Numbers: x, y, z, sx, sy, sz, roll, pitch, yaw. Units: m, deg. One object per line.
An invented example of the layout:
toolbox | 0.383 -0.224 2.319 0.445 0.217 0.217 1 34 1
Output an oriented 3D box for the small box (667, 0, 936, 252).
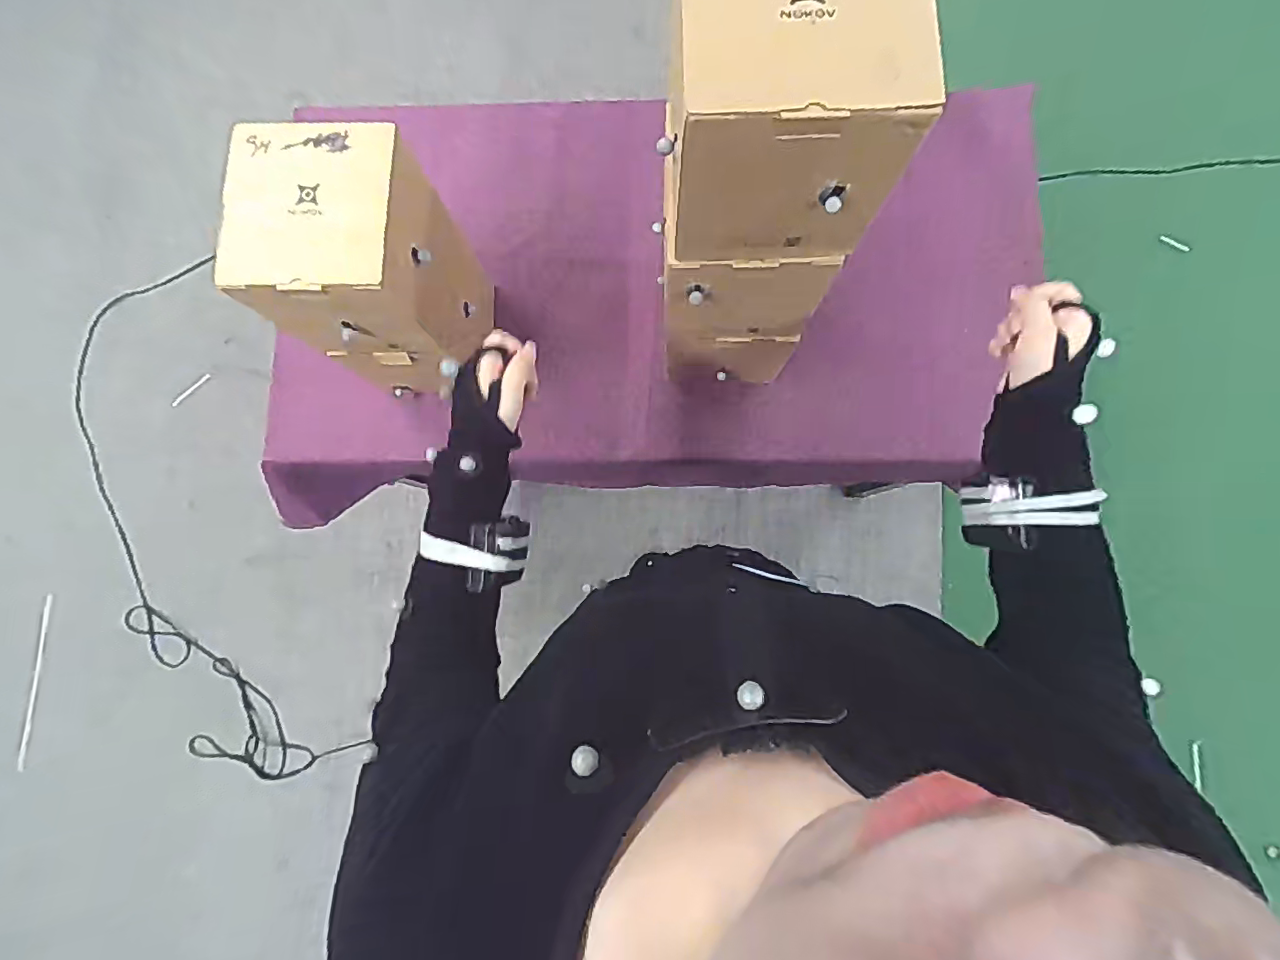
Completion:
small box | 0.107 -0.301 0.431 0.168 0.176 0.179 -1 82 1

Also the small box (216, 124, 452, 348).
small box | -0.322 -0.256 0.604 0.168 0.176 0.179 1 84 1

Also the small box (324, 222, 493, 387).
small box | -0.314 -0.235 0.767 0.168 0.176 0.179 -1 82 1

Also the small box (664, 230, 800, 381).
small box | 0.120 -0.251 0.755 0.168 0.176 0.179 2 83 3
